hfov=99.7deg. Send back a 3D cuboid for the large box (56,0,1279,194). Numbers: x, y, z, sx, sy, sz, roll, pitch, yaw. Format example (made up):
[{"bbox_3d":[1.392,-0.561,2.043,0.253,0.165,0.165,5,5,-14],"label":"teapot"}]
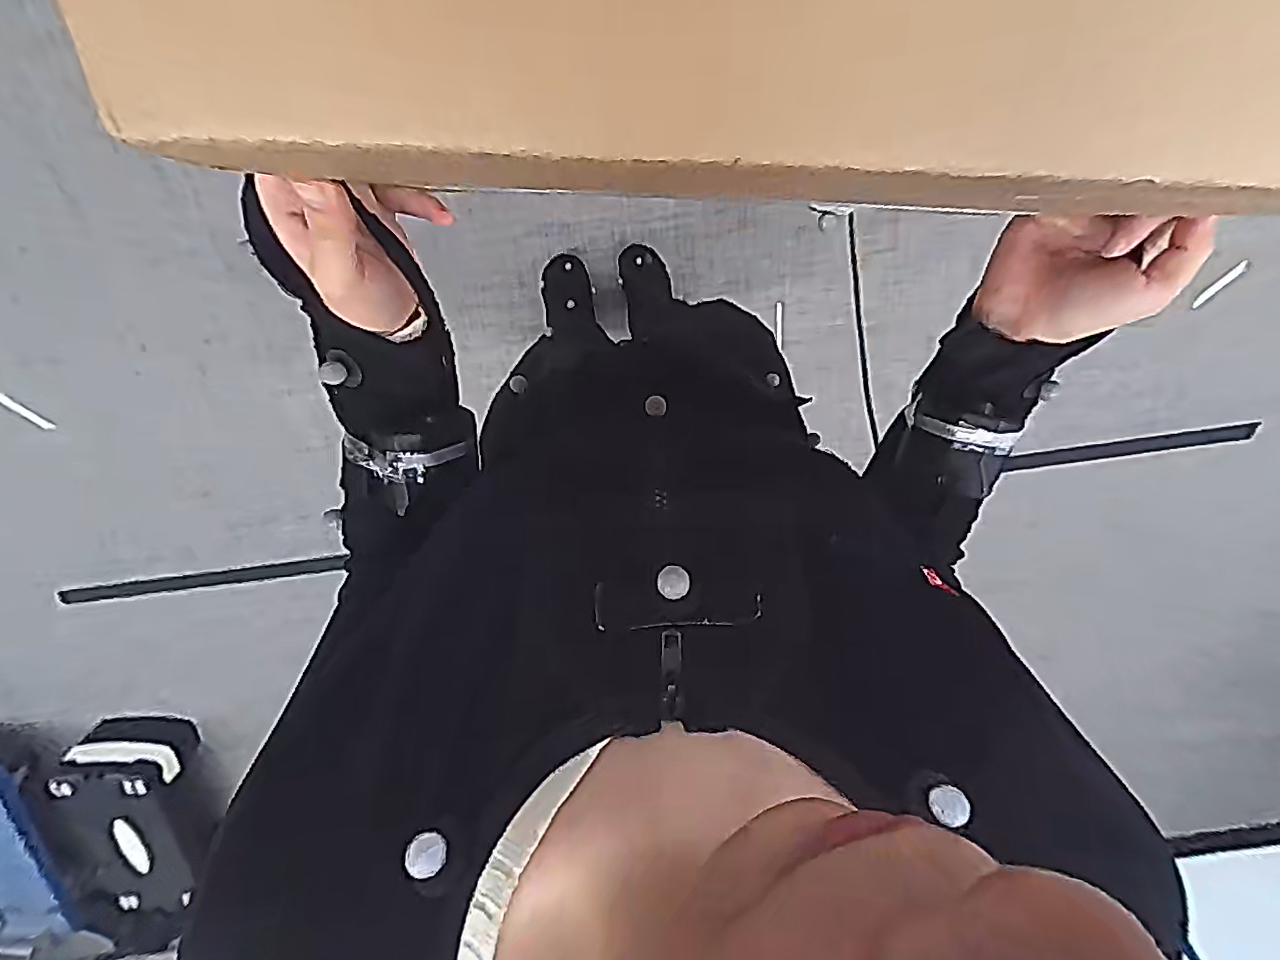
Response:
[{"bbox_3d":[0.056,-0.295,0.207,0.408,0.320,0.320,-1,118,-5],"label":"large box"}]
